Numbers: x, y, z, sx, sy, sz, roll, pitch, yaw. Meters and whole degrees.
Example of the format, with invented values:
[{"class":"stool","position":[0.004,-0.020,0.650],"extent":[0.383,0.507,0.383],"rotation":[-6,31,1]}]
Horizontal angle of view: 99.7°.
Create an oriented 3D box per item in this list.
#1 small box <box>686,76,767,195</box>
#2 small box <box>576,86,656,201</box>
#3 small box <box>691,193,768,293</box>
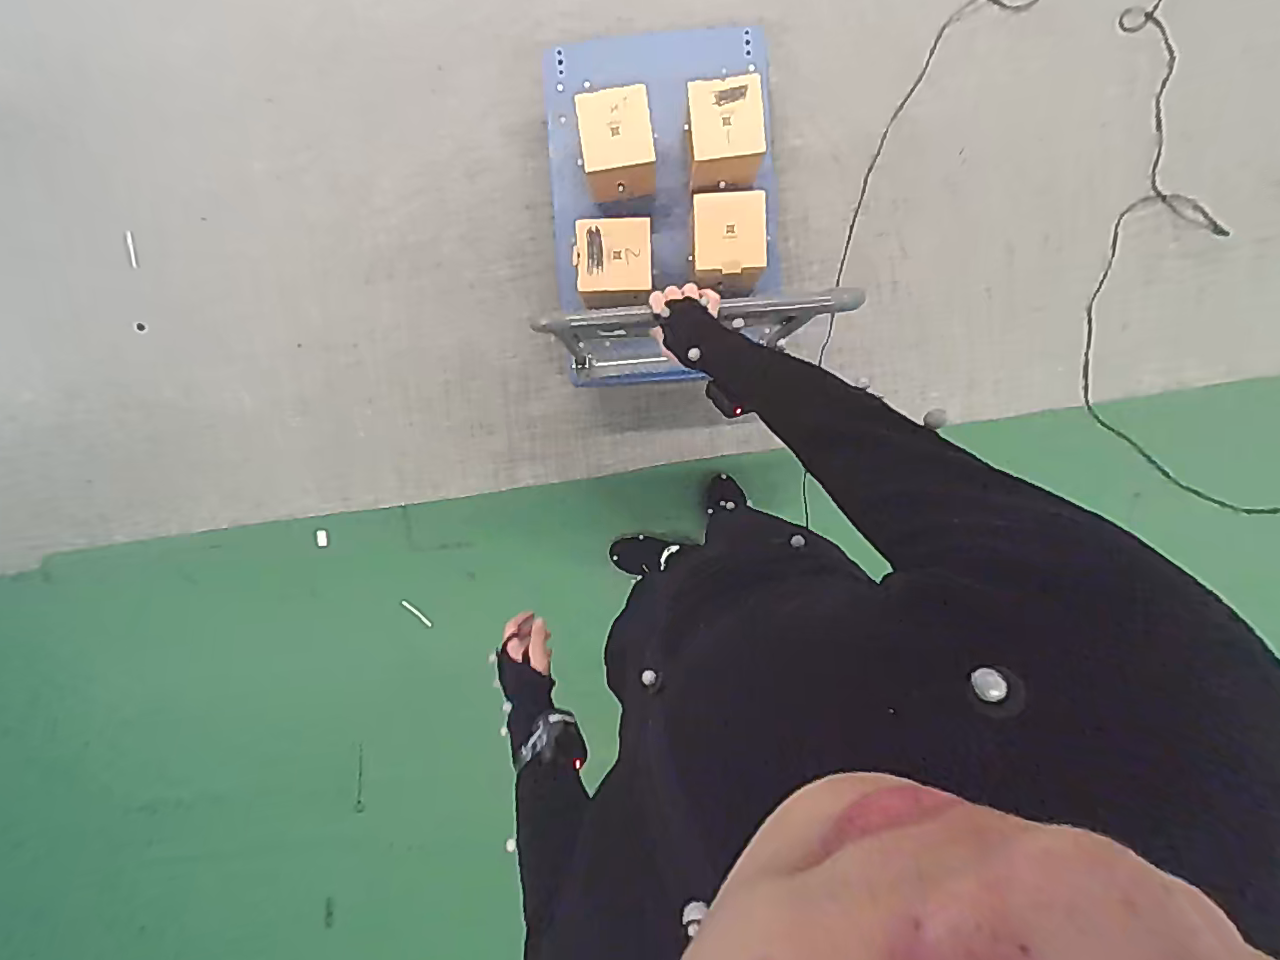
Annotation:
[{"class":"small box","position":[0.202,-0.818,1.297],"extent":[0.168,0.176,0.179],"rotation":[-5,95,3]},{"class":"small box","position":[-0.053,-0.800,1.307],"extent":[0.168,0.176,0.179],"rotation":[-8,94,2]},{"class":"small box","position":[0.212,-0.570,1.316],"extent":[0.168,0.176,0.179],"rotation":[-2,95,2]}]
